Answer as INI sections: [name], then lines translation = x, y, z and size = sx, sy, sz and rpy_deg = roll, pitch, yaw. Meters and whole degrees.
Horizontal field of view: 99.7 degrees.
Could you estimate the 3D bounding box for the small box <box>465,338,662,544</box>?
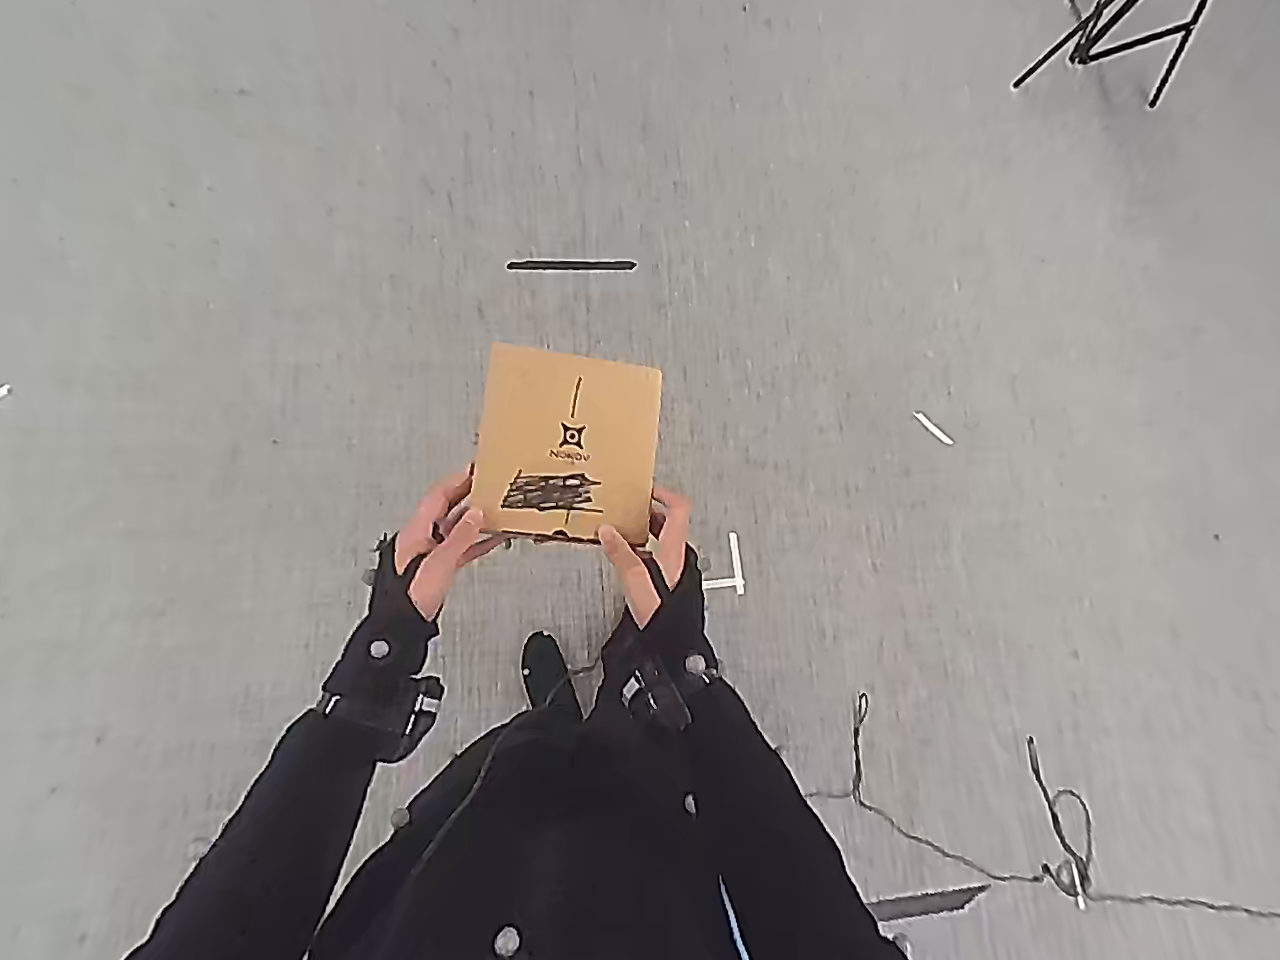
[small box]
translation = -0.082, -0.027, 0.578
size = 0.168, 0.176, 0.179
rpy_deg = 7, 81, -12
